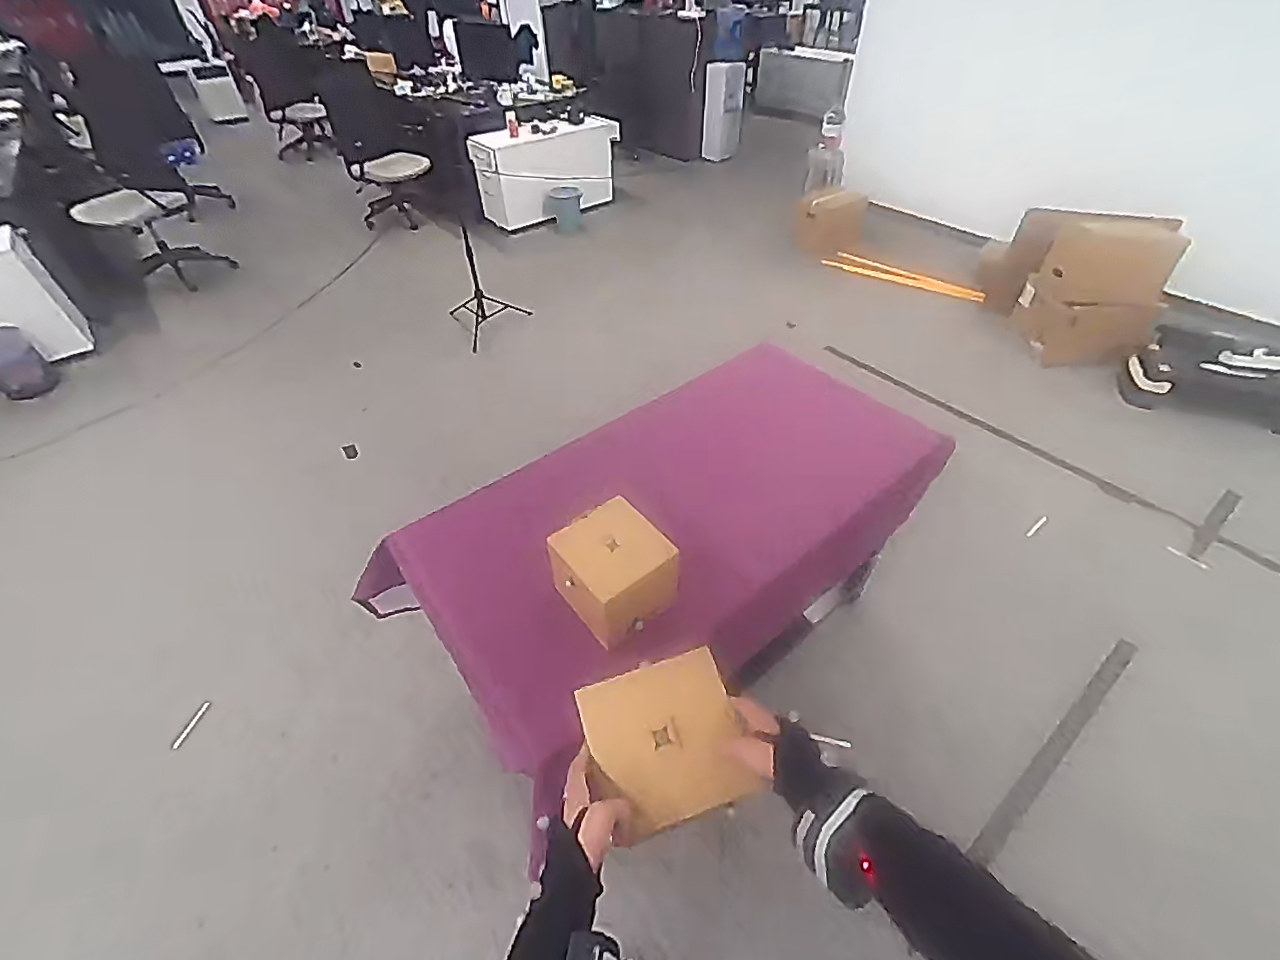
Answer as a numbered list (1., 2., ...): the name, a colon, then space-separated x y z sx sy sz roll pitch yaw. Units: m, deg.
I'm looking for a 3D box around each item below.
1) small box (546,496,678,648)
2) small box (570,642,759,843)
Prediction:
1. small box: -0.048 0.168 0.983 0.168 0.176 0.179 -31 52 -24
2. small box: 0.025 0.332 0.677 0.179 0.176 0.168 -16 57 -11
